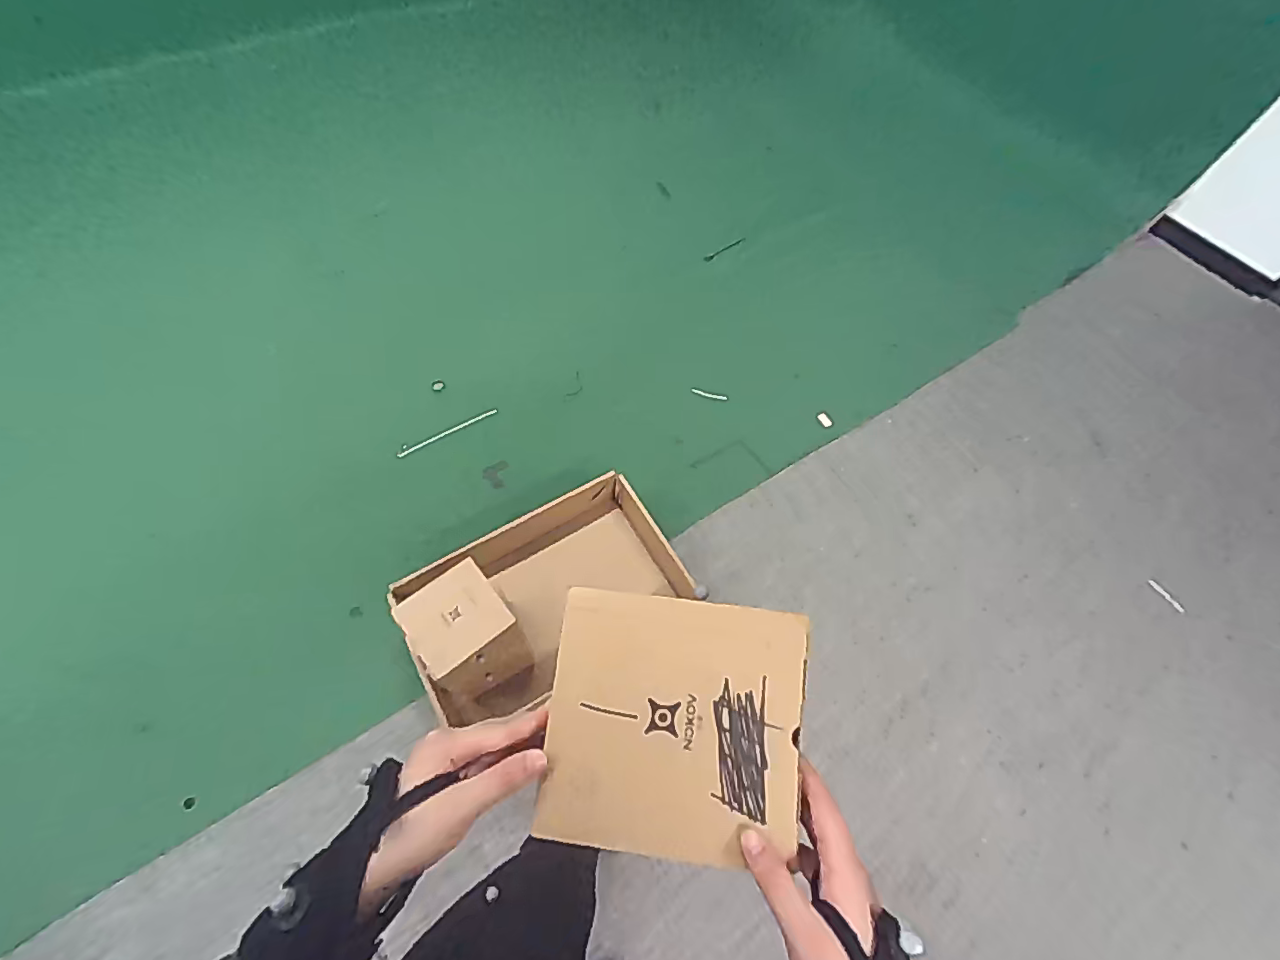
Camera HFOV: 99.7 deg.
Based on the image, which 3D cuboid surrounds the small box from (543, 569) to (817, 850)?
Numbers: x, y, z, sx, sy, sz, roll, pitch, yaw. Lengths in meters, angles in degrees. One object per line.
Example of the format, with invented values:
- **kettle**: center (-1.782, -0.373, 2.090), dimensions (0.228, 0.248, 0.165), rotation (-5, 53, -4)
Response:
- **small box**: center (0.032, 0.173, 0.452), dimensions (0.179, 0.176, 0.168), rotation (7, 75, 3)

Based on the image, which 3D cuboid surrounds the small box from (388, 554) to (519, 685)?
- **small box**: center (-0.359, 0.283, 1.076), dimensions (0.179, 0.176, 0.168), rotation (-36, 72, -22)

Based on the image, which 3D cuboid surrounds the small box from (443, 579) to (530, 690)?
- **small box**: center (-0.367, 0.356, 1.223), dimensions (0.179, 0.176, 0.168), rotation (-26, 68, -16)
